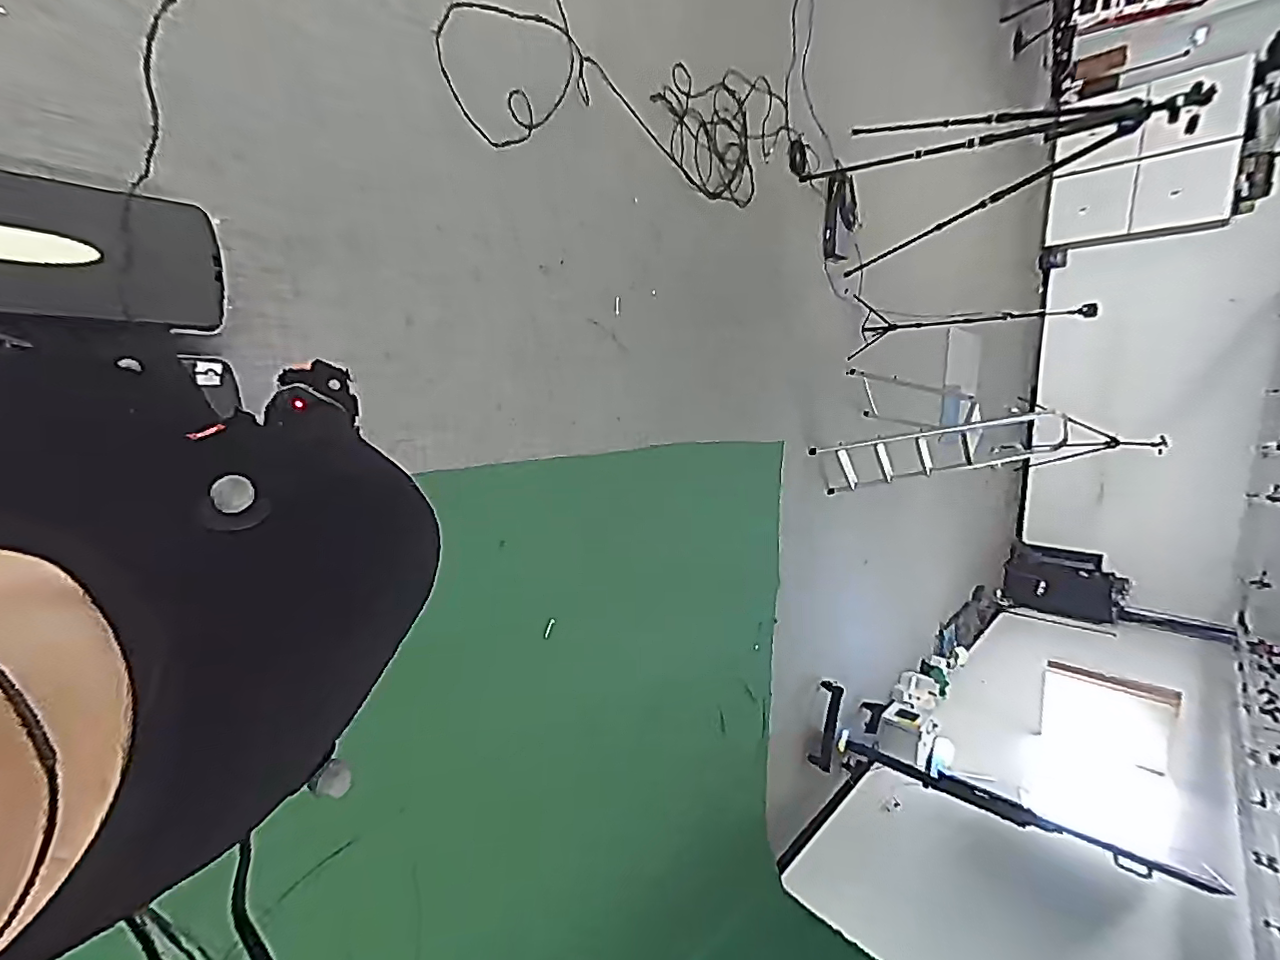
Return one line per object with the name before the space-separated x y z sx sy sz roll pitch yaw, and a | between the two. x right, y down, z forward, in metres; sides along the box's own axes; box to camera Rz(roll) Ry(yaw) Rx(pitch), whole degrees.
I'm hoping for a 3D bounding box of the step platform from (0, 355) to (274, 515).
step platform | -1.063 -0.076 0.937 0.684 0.204 0.286 -10 102 -46
